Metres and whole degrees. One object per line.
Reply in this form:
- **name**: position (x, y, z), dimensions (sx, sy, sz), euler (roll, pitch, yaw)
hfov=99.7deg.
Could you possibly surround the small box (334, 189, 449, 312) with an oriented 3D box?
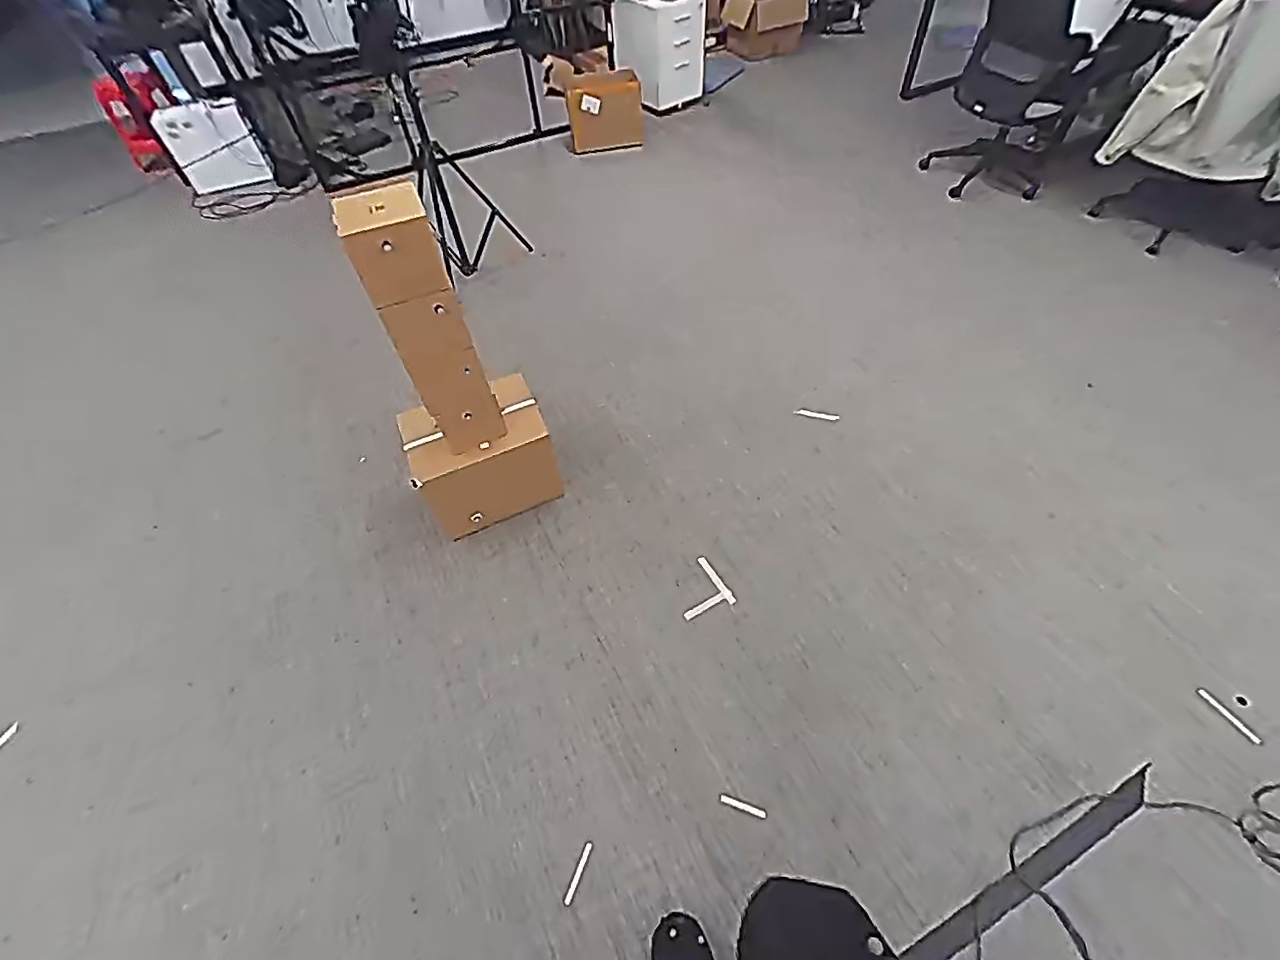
- **small box**: position (-0.533, -0.496, 1.178), dimensions (0.179, 0.176, 0.168), euler (-21, 55, -12)

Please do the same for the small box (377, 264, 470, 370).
- **small box**: position (-0.524, -0.397, 1.306), dimensions (0.179, 0.176, 0.168), euler (-22, 54, -12)

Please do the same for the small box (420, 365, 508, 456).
- **small box**: position (-0.505, -0.197, 1.567), dimensions (0.179, 0.176, 0.168), euler (-24, 56, -16)
